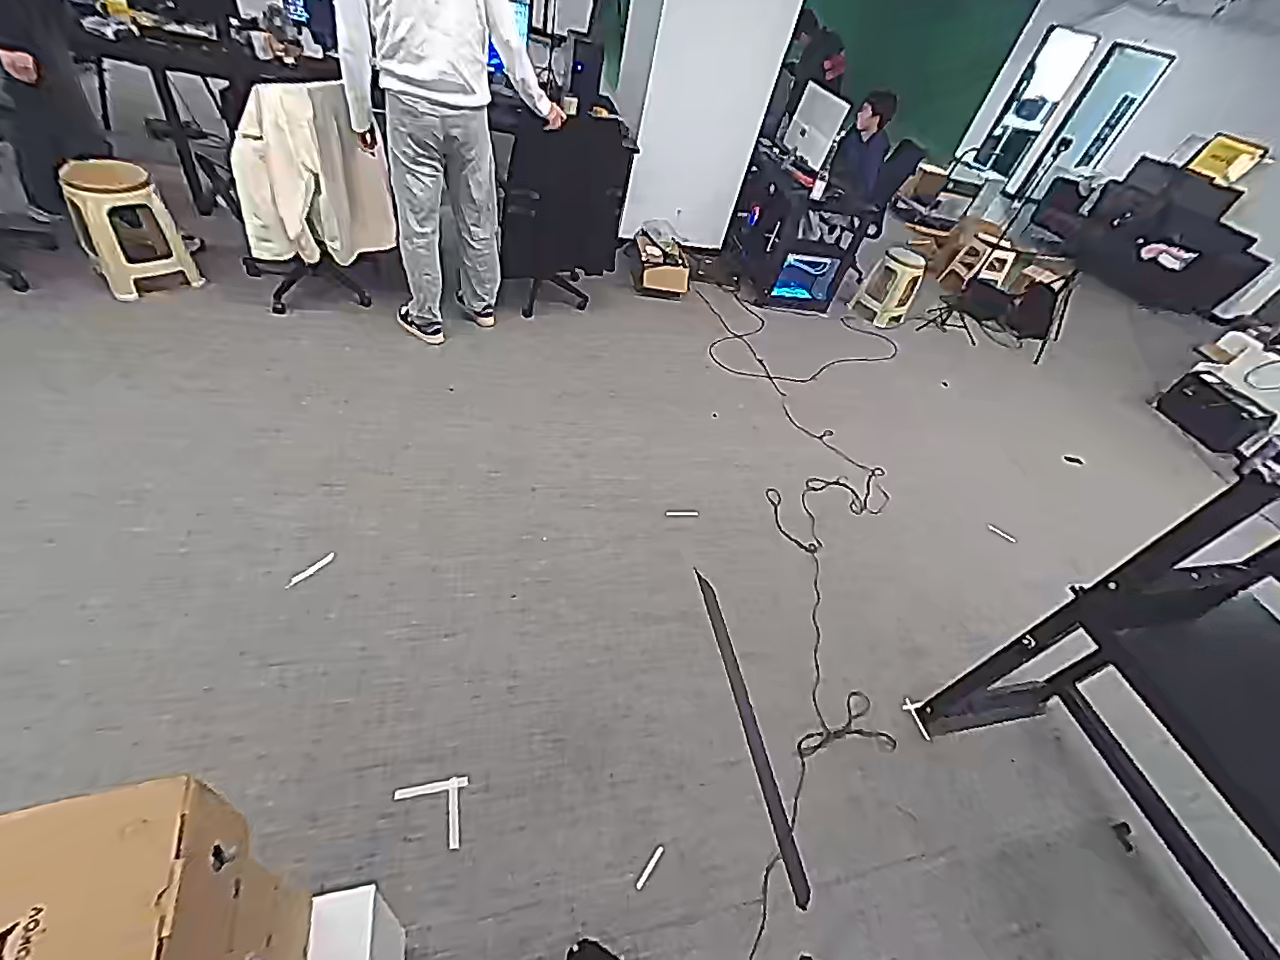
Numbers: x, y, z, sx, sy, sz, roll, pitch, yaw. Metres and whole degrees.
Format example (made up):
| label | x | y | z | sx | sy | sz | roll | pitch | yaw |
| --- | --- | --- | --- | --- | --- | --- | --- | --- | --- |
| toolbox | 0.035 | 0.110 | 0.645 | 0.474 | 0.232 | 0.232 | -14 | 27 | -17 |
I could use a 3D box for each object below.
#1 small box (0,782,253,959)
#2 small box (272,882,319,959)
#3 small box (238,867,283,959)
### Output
| label | x | y | z | sx | sy | sz | roll | pitch | yaw |
| --- | --- | --- | --- | --- | --- | --- | --- | --- | --- |
| small box | -0.408 | 0.350 | 0.390 | 0.179 | 0.176 | 0.168 | -6 | 49 | -22 |
| small box | -0.486 | 0.584 | 0.607 | 0.179 | 0.176 | 0.168 | -3 | 48 | -19 |
| small box | -0.451 | 0.472 | 0.491 | 0.179 | 0.176 | 0.168 | -2 | 48 | -19 |
